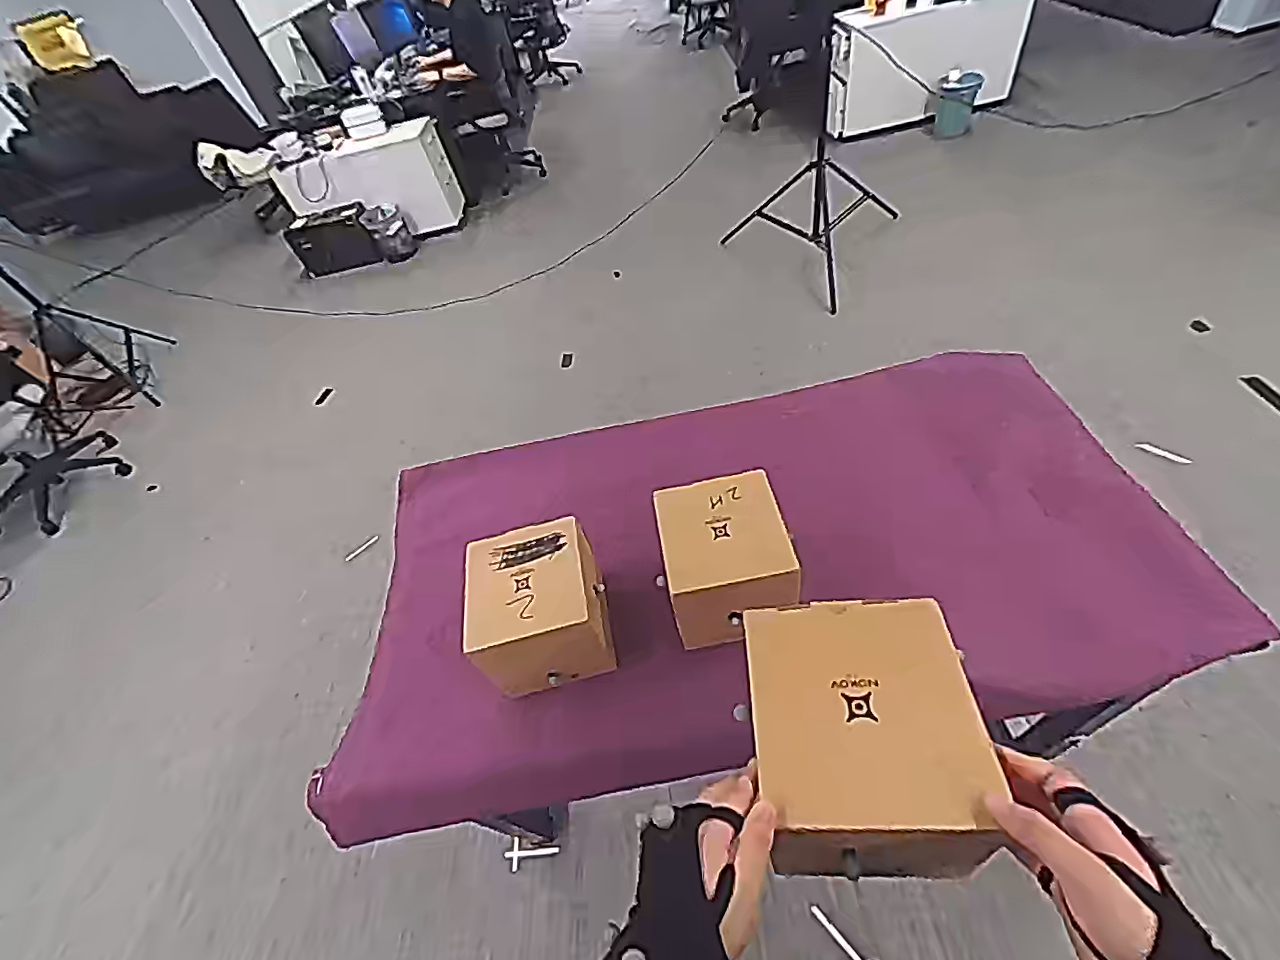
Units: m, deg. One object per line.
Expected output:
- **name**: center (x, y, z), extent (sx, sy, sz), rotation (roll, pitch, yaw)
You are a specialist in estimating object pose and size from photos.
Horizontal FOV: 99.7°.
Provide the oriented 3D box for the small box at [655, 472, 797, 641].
- **small box**: center (0.123, 0.119, 0.788), extent (0.168, 0.176, 0.179), rotation (-11, 47, 3)
